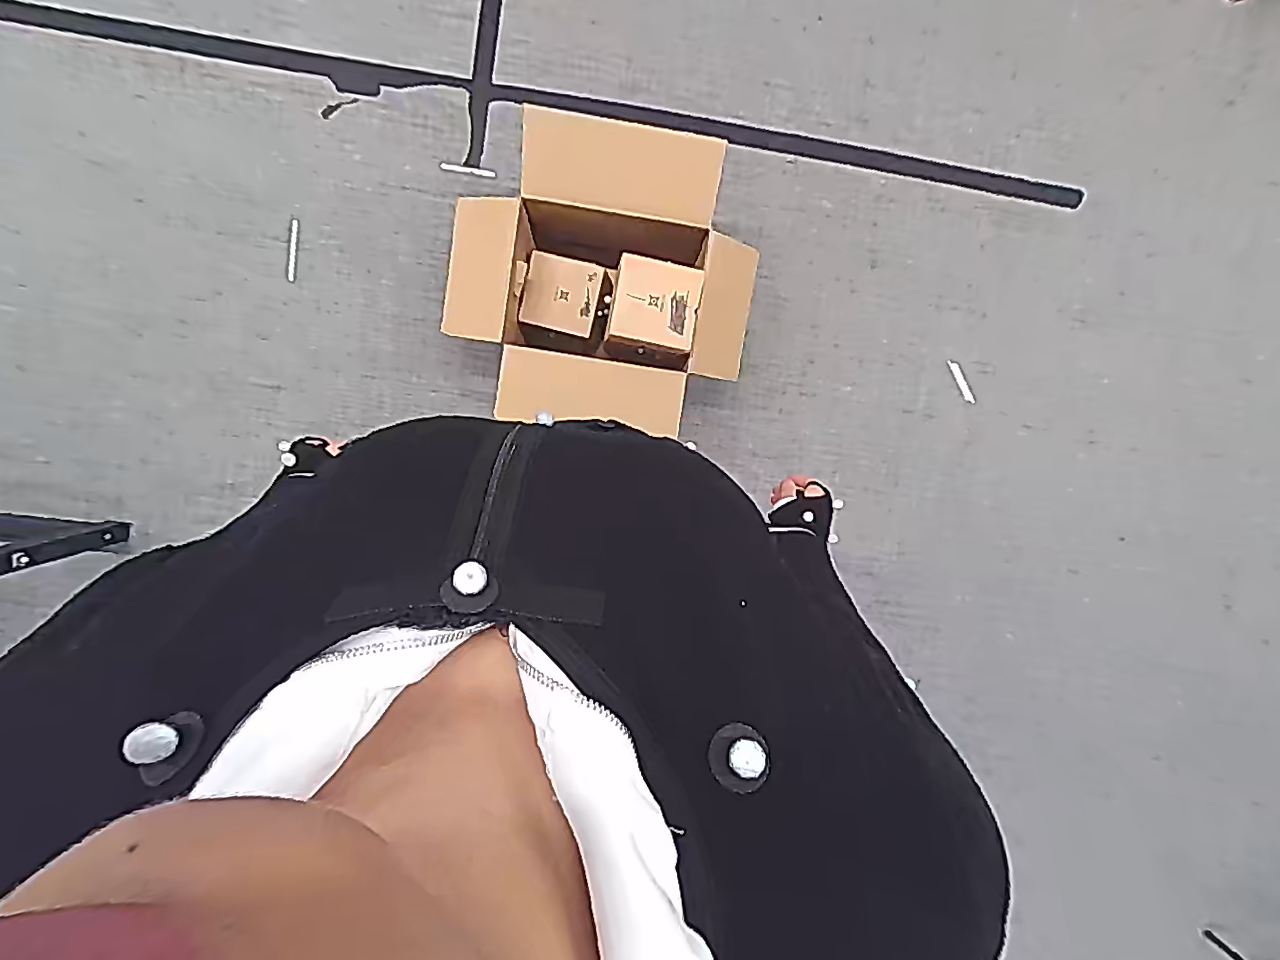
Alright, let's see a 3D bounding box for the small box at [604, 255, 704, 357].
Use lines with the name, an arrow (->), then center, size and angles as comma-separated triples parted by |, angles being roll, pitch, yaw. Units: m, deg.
small box -> 0.023, -0.370, 1.185 | 0.179, 0.176, 0.168 | 11, 96, -7
